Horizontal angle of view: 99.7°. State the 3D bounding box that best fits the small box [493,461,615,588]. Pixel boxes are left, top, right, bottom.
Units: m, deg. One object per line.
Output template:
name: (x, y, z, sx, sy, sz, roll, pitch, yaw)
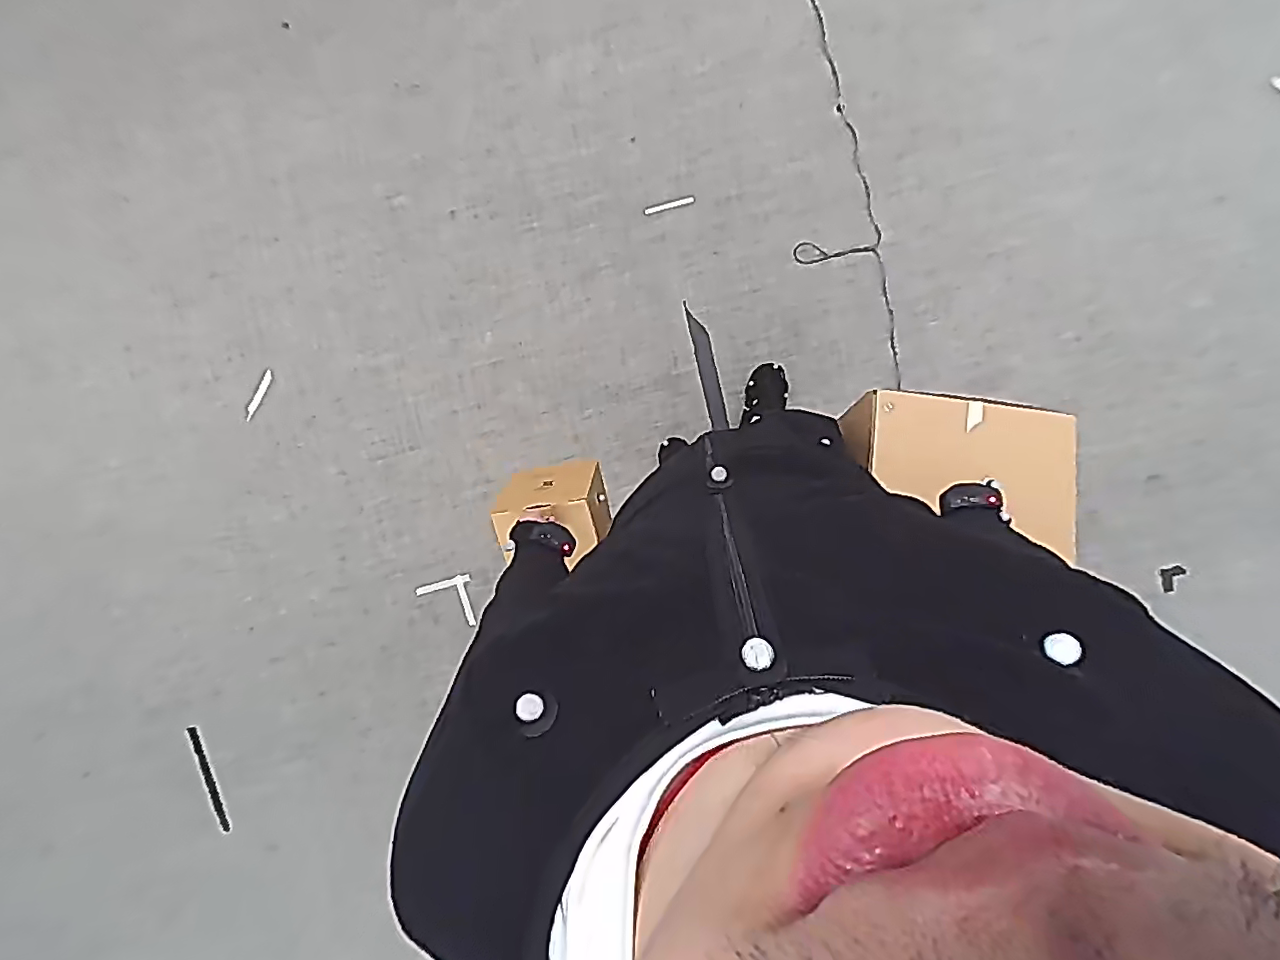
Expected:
small box: (-0.145, 0.084, 0.991, 0.168, 0.179, 0.176, -8, 114, 7)
